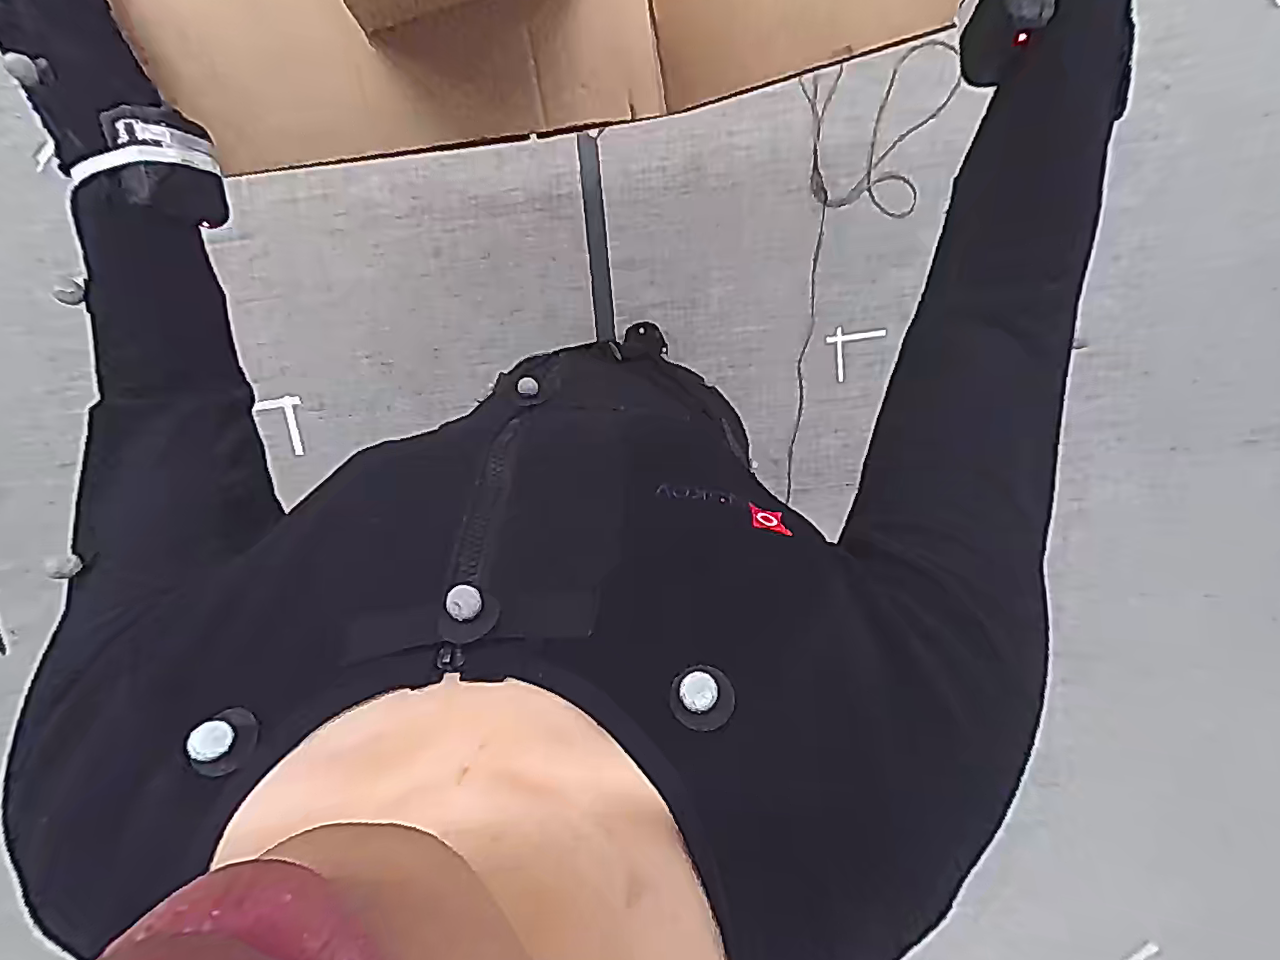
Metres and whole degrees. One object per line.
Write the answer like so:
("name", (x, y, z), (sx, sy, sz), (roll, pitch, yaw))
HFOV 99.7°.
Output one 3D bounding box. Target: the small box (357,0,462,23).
("small box", (-0.129, -0.410, 0.303), (0.179, 0.176, 0.168), (-21, 111, -3))
